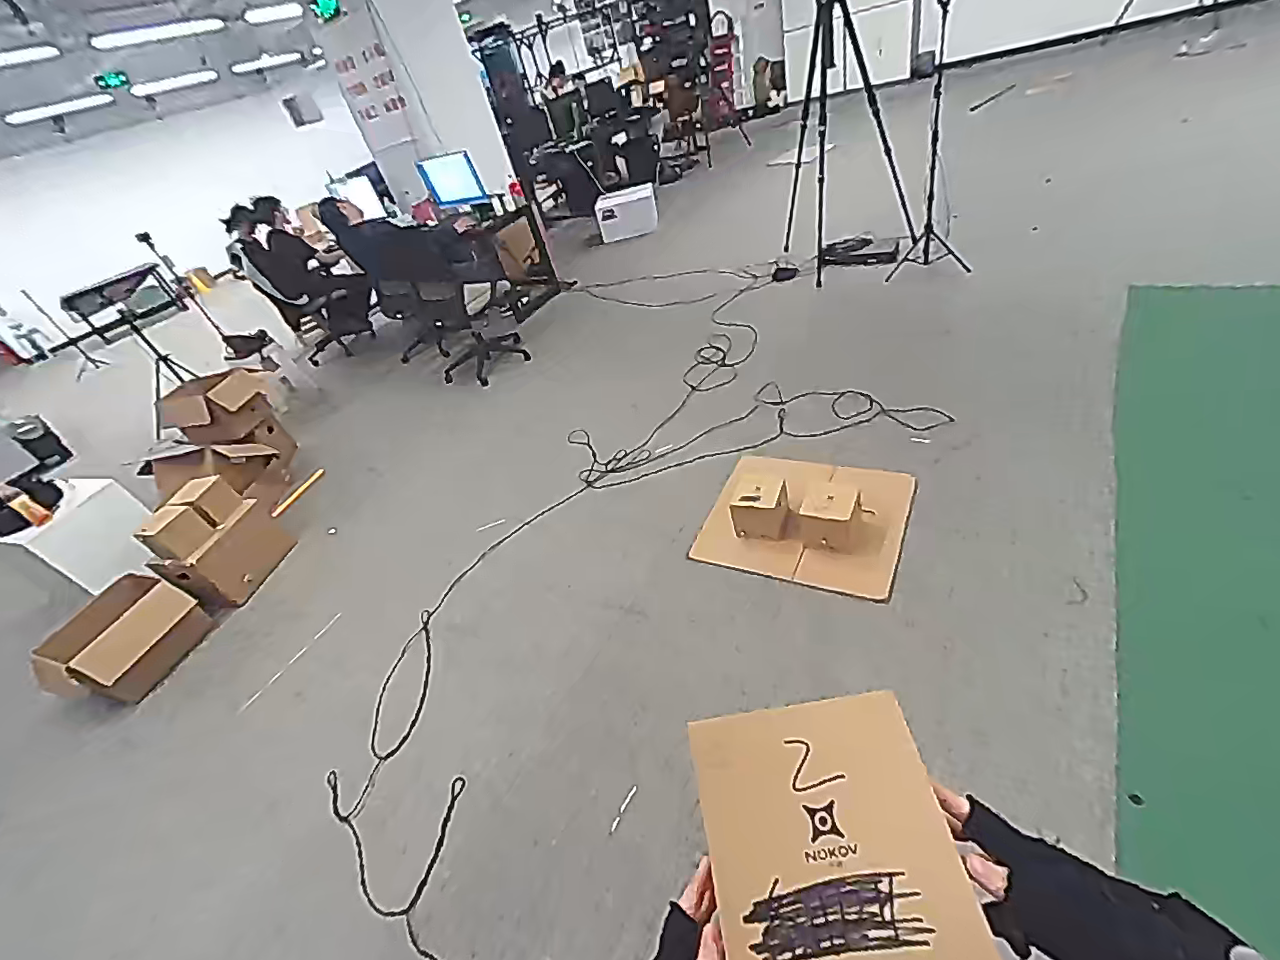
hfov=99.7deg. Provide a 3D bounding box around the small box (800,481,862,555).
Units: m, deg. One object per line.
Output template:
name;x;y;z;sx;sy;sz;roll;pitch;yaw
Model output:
small box;0.666;0.130;1.875;0.168;0.176;0.179;8;46;32

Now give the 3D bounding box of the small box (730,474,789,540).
small box;0.448;0.101;1.997;0.168;0.176;0.179;5;43;28
